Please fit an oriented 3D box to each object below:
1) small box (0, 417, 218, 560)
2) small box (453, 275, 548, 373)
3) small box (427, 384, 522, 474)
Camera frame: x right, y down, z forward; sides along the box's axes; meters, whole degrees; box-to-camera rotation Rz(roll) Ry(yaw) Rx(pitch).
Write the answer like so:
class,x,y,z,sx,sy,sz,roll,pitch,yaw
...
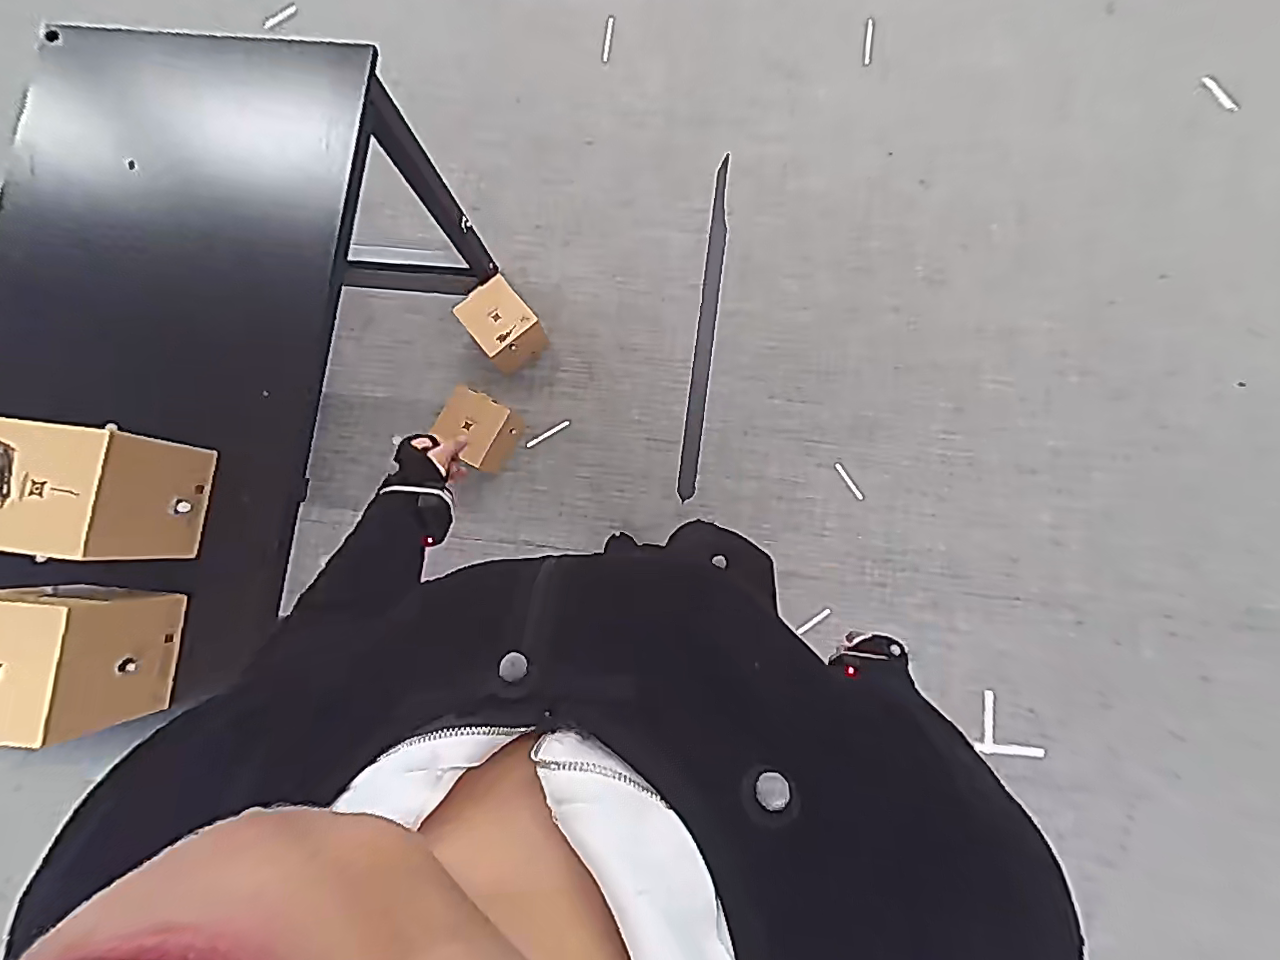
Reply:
class,x,y,z,sx,sy,sz,roll,pitch,yaw
small box,-0.750,0.019,0.752,0.179,0.176,0.168,6,84,3
small box,-0.385,-0.429,1.519,0.168,0.176,0.179,-40,83,-2
small box,-0.444,-0.133,1.491,0.168,0.176,0.179,27,86,6
